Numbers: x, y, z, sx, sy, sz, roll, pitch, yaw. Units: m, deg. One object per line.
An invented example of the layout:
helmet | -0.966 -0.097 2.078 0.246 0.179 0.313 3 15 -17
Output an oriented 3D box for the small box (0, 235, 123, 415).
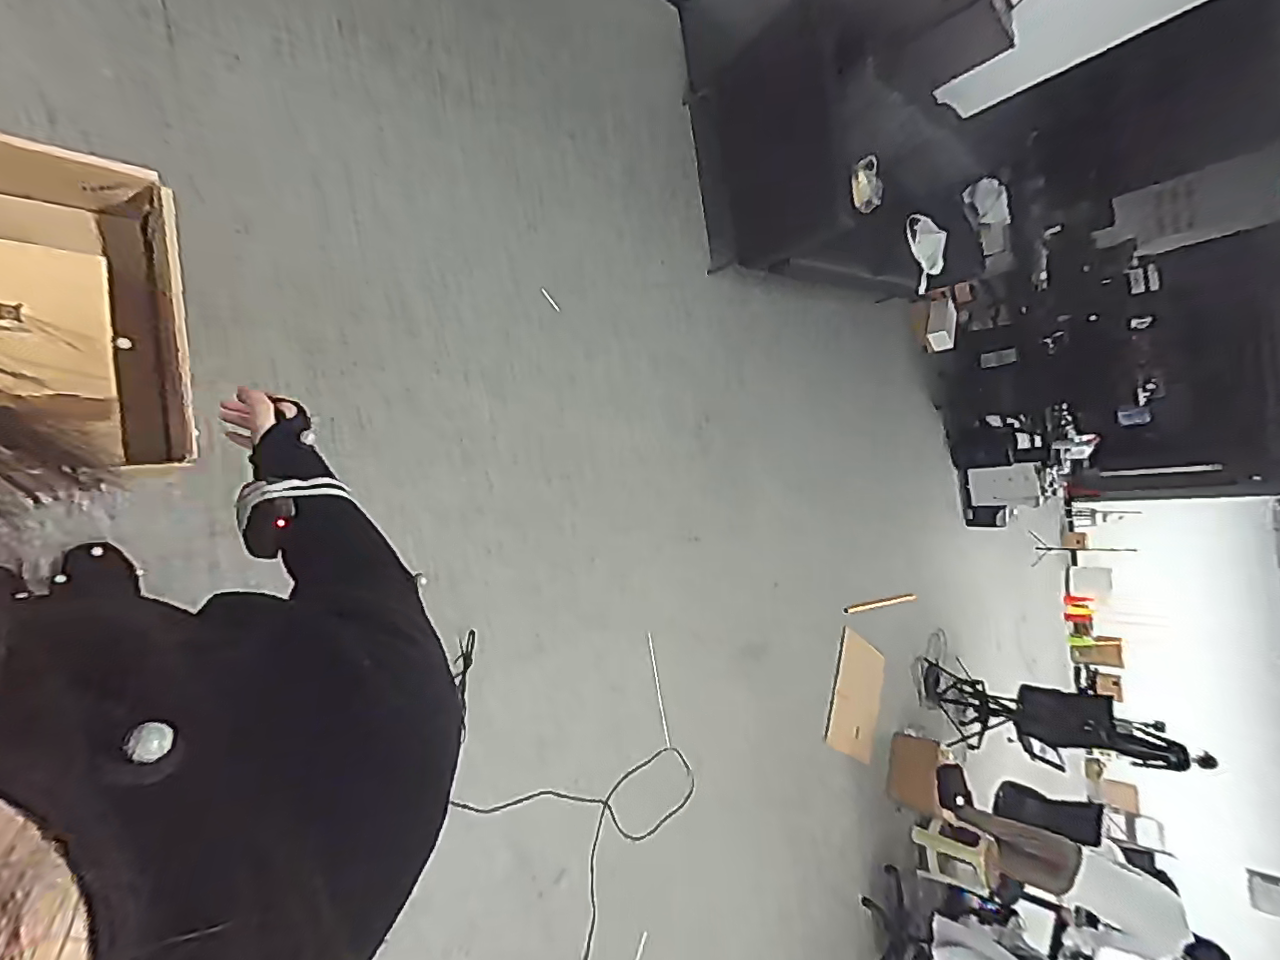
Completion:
small box | -0.752 -0.181 0.659 0.168 0.176 0.179 -4 90 -45
